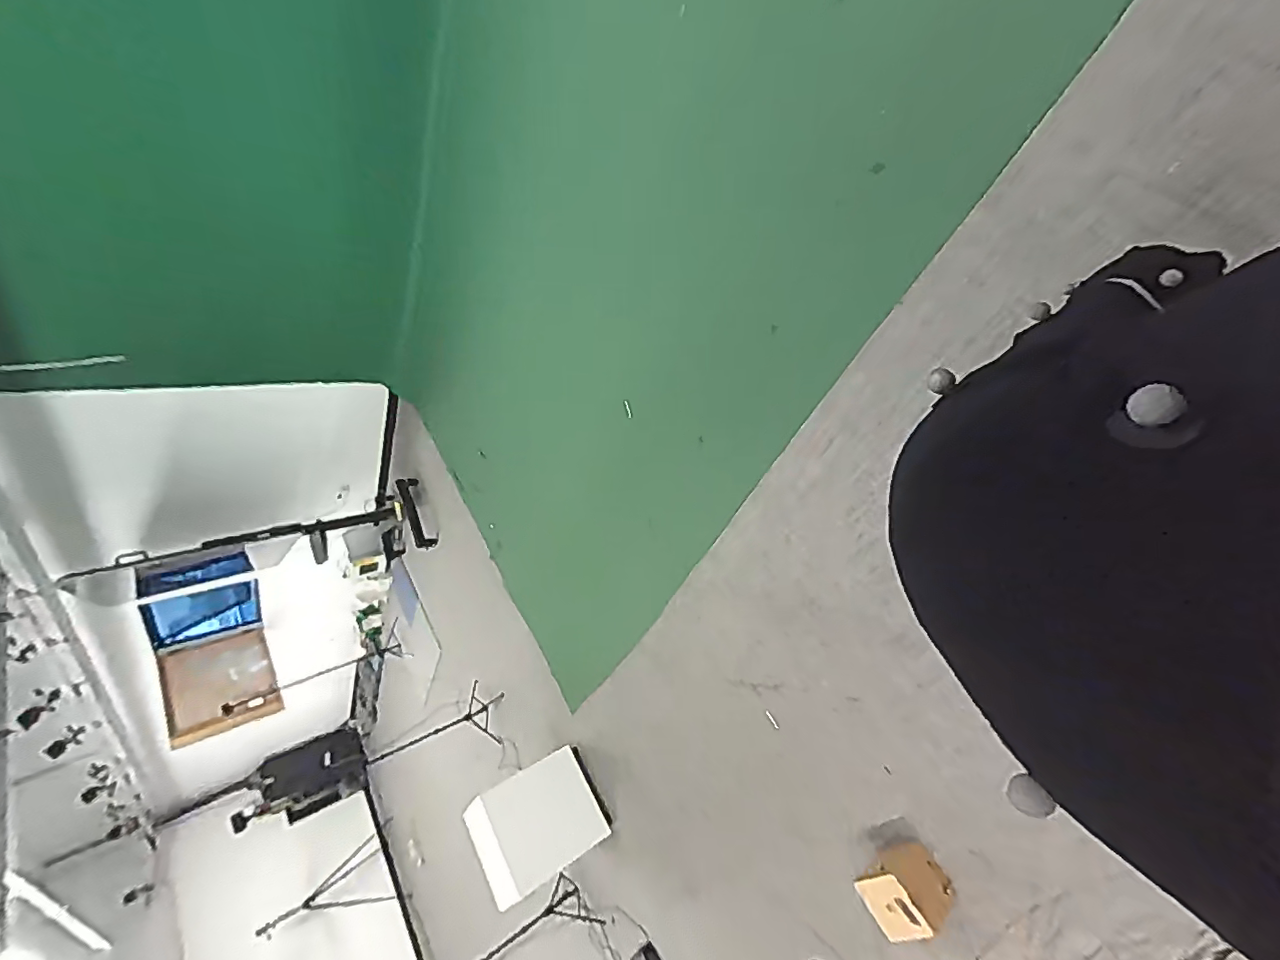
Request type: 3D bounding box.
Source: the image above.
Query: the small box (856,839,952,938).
[{"bbox_3d":[0.789,1.204,1.602,0.168,0.176,0.179,56,135,24],"label":"small box"}]
